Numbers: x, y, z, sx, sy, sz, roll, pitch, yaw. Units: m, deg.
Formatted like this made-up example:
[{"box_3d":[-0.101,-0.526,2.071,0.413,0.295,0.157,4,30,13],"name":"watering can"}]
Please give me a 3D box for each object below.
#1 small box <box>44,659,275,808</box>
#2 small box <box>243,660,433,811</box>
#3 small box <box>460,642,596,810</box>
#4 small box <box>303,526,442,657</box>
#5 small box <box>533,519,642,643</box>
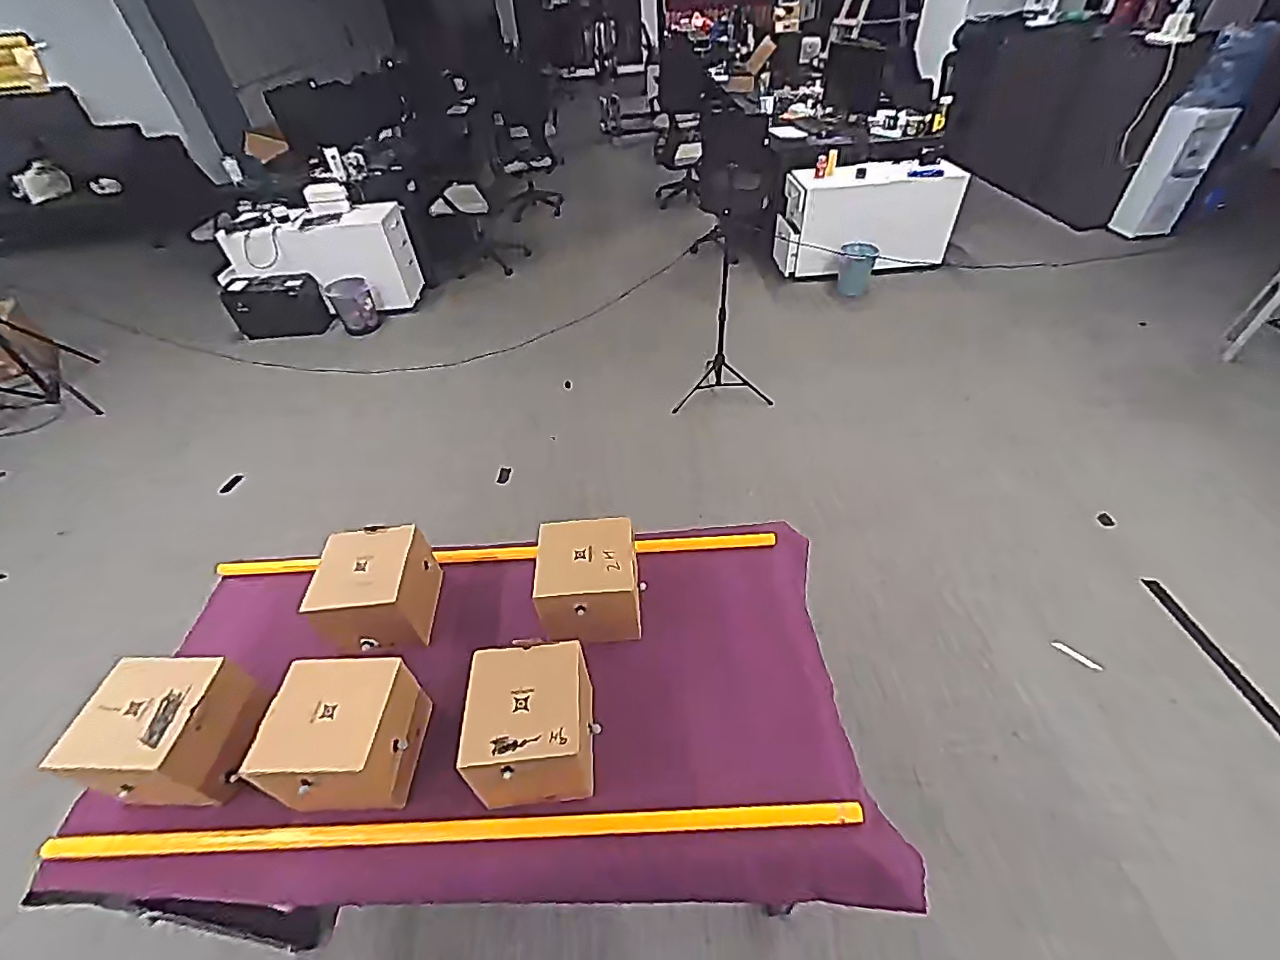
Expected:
[{"box_3d":[-0.728,0.398,0.850,0.179,0.176,0.168,-1,44,4],"name":"small box"},{"box_3d":[-0.445,0.395,0.835,0.179,0.176,0.168,-3,43,3],"name":"small box"},{"box_3d":[-0.159,0.376,0.830,0.168,0.176,0.179,-6,41,-1],"name":"small box"},{"box_3d":[-0.492,0.213,1.030,0.168,0.176,0.179,-6,45,-1],"name":"small box"},{"box_3d":[-0.091,0.194,1.017,0.179,0.176,0.168,-4,45,1],"name":"small box"}]
